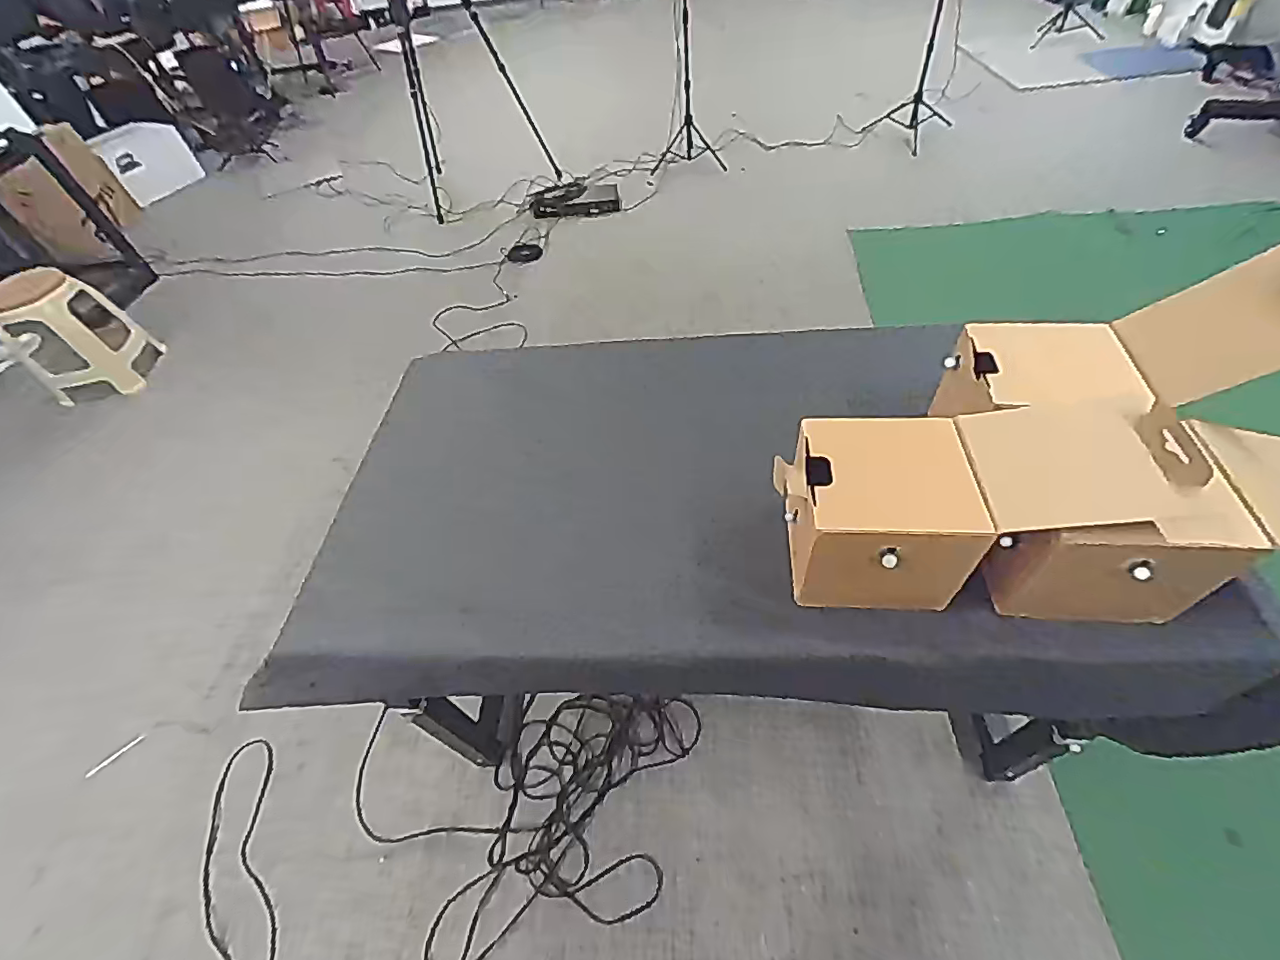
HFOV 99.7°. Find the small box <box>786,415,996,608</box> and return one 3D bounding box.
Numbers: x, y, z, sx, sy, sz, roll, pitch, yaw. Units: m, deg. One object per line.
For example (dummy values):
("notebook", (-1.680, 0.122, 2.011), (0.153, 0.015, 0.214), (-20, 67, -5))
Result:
("small box", (0.277, 0.040, 0.643), (0.179, 0.176, 0.168), (0, 51, 9))
